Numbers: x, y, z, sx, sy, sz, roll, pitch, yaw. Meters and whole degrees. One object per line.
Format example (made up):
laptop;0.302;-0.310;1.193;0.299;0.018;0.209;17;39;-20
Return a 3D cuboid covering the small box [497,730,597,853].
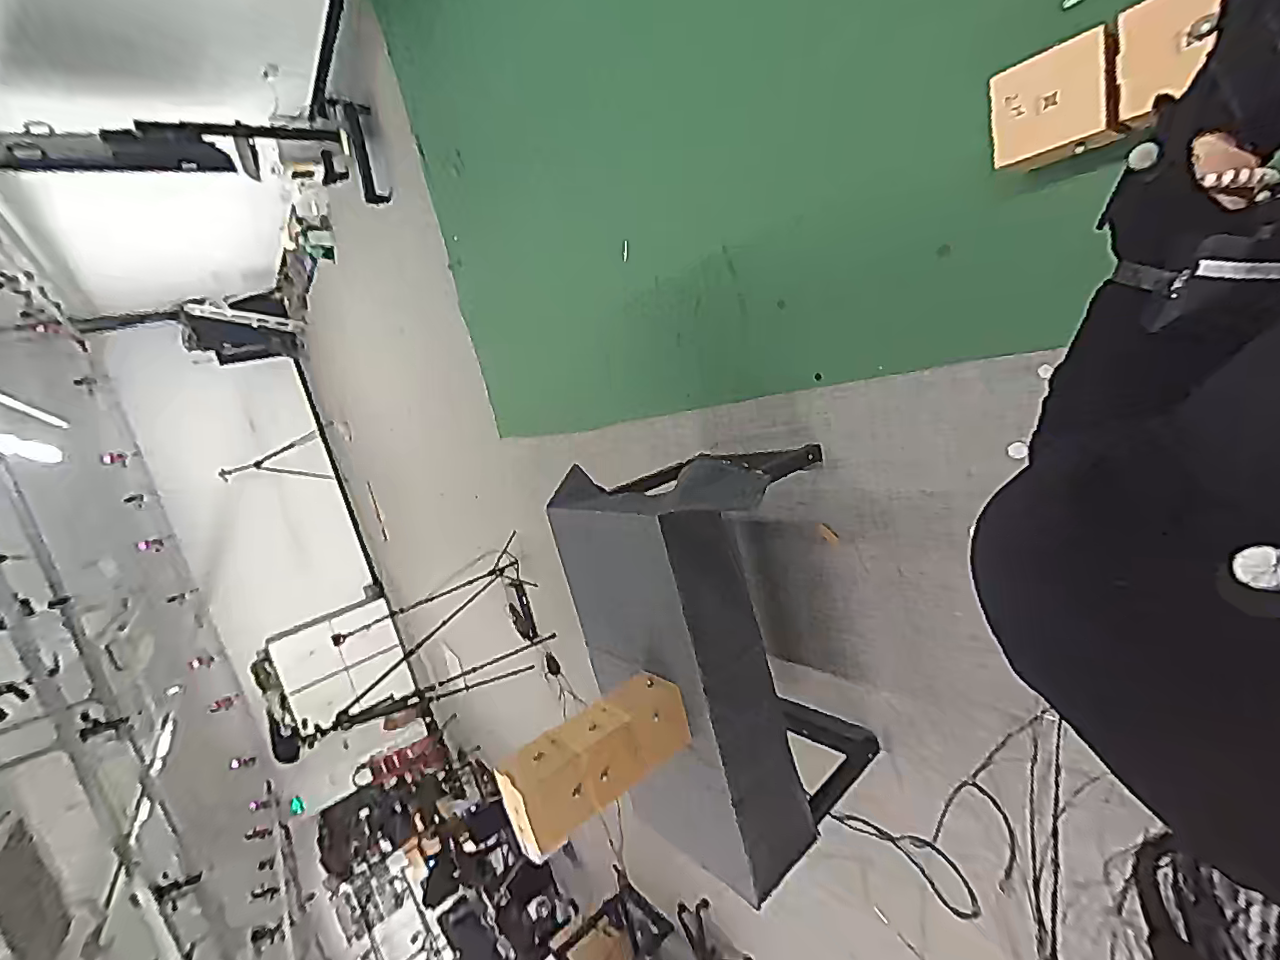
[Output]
small box;-0.233;0.770;1.362;0.168;0.176;0.179;0;106;53

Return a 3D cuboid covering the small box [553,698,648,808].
small box;-0.105;0.720;1.451;0.168;0.176;0.179;-3;104;54
